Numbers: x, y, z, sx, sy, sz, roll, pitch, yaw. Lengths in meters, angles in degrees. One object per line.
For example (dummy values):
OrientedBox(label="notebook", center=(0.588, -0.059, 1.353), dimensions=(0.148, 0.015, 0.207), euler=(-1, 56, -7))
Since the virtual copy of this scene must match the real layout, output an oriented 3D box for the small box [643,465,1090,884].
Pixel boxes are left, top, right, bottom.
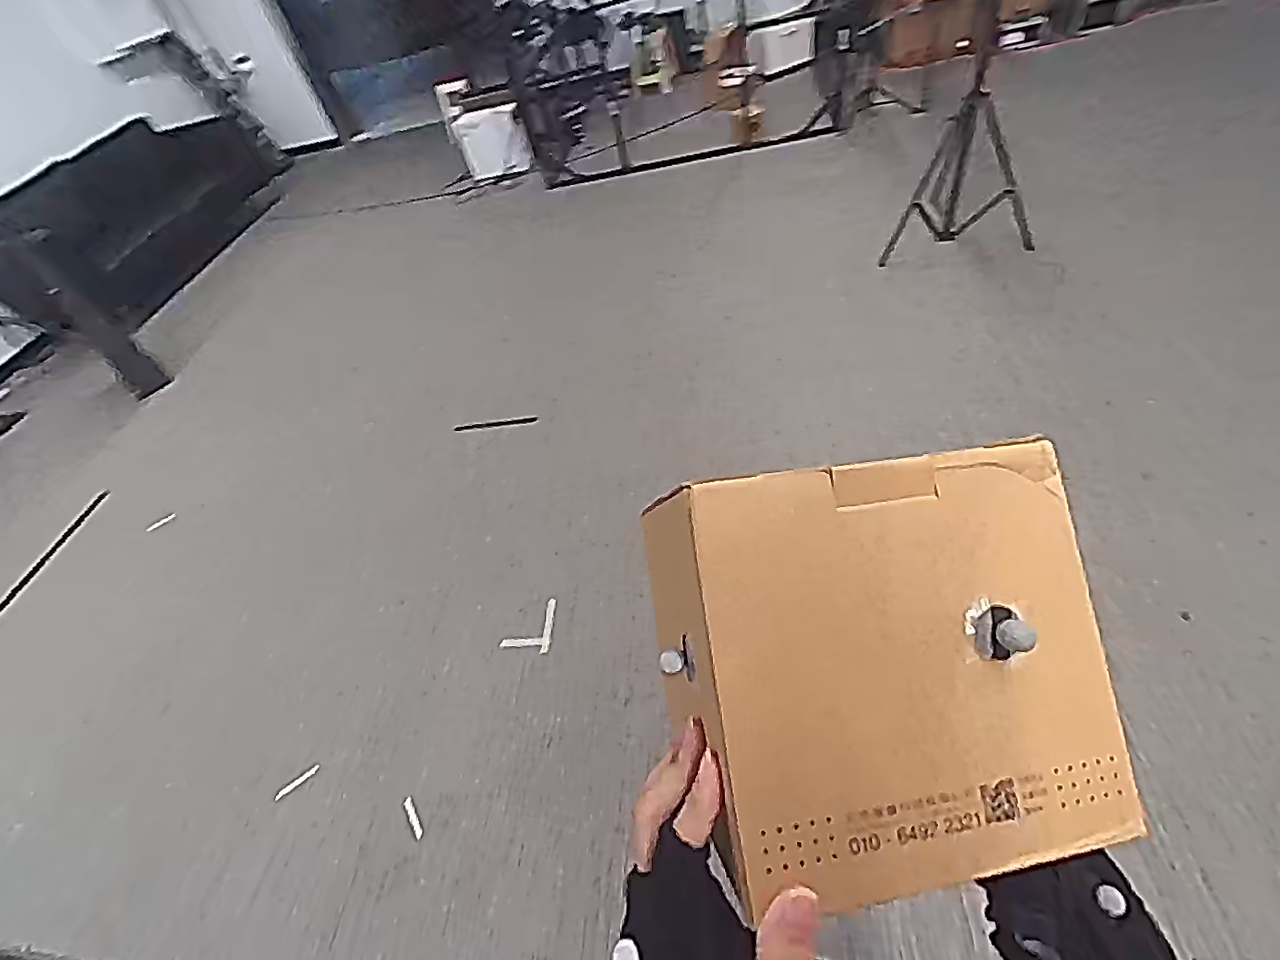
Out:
OrientedBox(label="small box", center=(0.103, 0.097, 0.314), dimensions=(0.168, 0.179, 0.176), euler=(-8, 82, -7))
